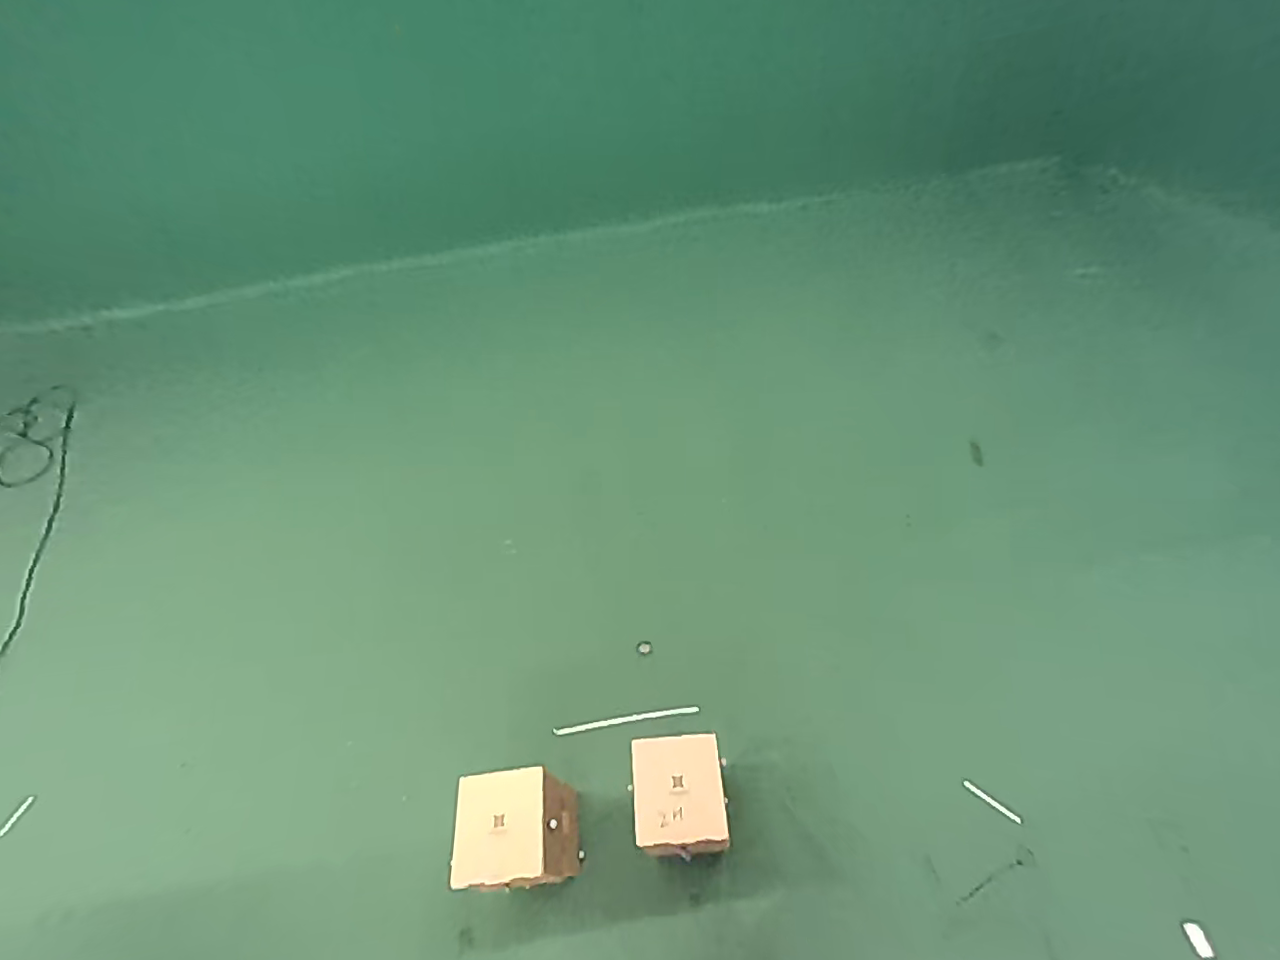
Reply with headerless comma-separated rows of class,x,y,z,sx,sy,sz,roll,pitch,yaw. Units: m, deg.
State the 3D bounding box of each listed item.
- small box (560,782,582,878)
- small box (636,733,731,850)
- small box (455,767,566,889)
small box,-0.227,0.778,1.188,0.179,0.176,0.168,-10,52,2
small box,0.082,0.614,1.061,0.168,0.176,0.179,-6,53,3
small box,-0.244,0.682,1.057,0.168,0.176,0.179,-9,53,1
